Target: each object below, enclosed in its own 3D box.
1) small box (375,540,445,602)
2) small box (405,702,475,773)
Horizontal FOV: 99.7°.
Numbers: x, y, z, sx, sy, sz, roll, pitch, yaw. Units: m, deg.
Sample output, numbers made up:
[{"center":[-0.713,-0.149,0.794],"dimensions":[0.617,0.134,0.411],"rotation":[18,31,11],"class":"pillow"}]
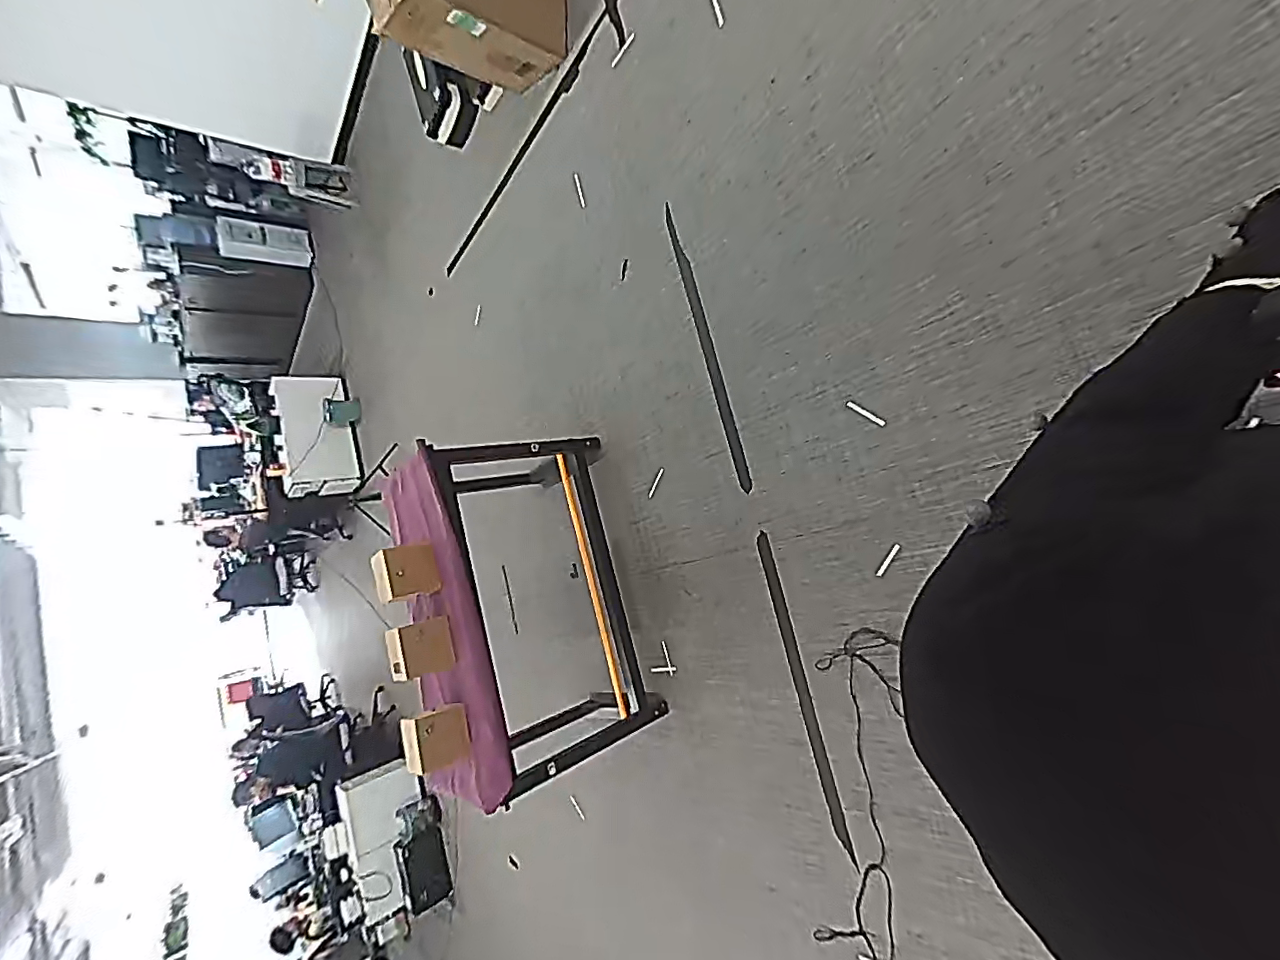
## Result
[{"center":[-0.815,0.319,1.918],"dimensions":[0.168,0.176,0.179],"rotation":[-27,76,48],"class":"small box"},{"center":[-0.680,0.867,1.840],"dimensions":[0.168,0.176,0.179],"rotation":[-28,72,48],"class":"small box"}]
